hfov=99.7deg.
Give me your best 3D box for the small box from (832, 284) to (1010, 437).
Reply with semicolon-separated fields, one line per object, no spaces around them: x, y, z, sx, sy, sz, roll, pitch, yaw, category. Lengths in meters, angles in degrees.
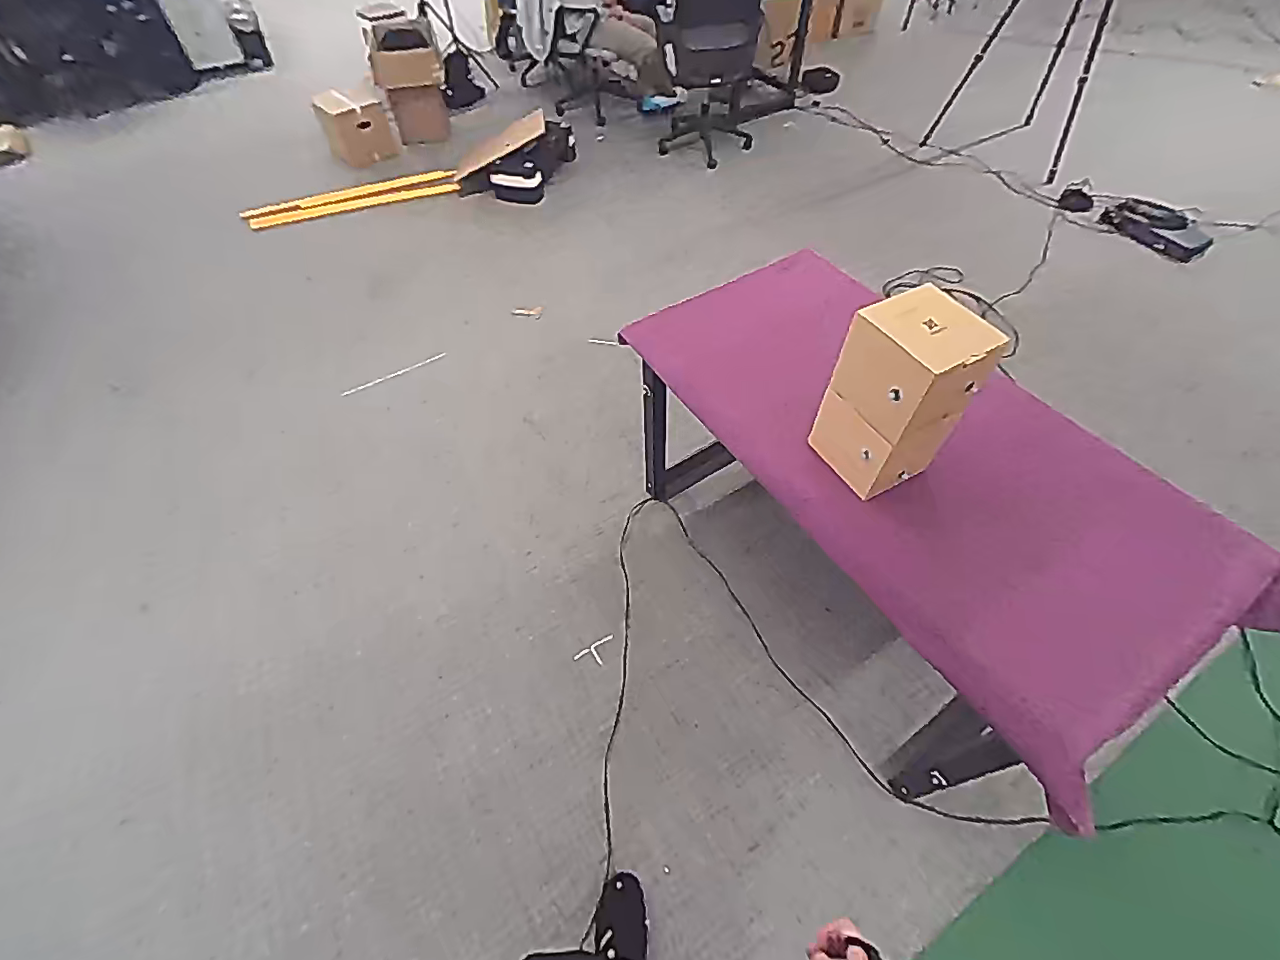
0.462;-0.195;0.920;0.168;0.176;0.179;-24;56;-15;small box
